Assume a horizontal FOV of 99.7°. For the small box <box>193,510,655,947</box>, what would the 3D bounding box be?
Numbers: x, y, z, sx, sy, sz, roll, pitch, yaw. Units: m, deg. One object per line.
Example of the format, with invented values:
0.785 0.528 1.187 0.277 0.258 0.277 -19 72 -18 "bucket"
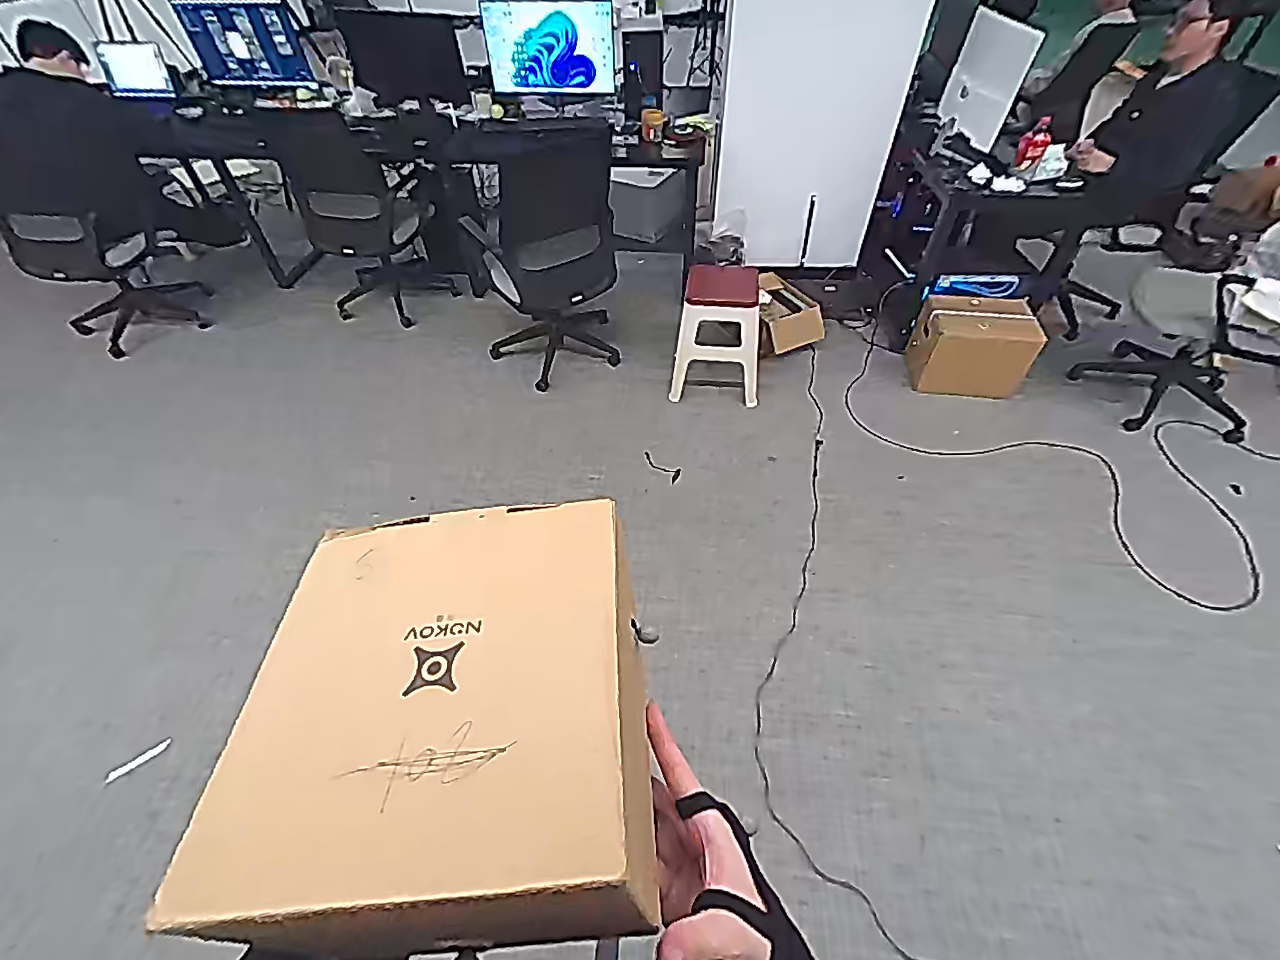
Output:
-0.082 0.142 0.311 0.168 0.176 0.179 -6 46 1 "small box"
